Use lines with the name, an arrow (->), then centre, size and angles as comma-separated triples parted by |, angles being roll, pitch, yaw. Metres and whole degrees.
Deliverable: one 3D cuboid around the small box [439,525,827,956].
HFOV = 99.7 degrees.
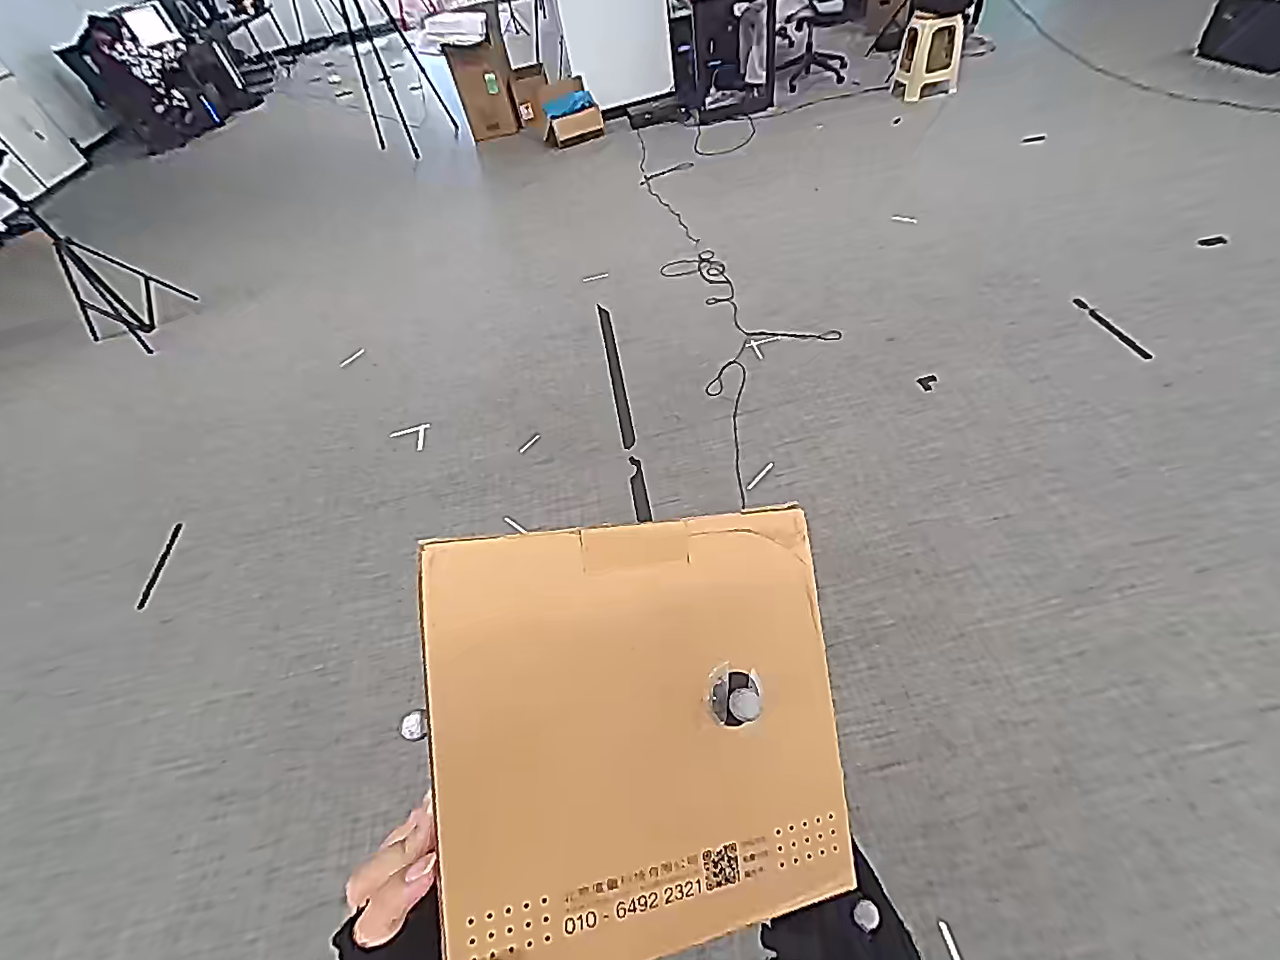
small box -> -0.015, 0.121, 0.311 | 0.168, 0.179, 0.176 | -4, 84, -16
